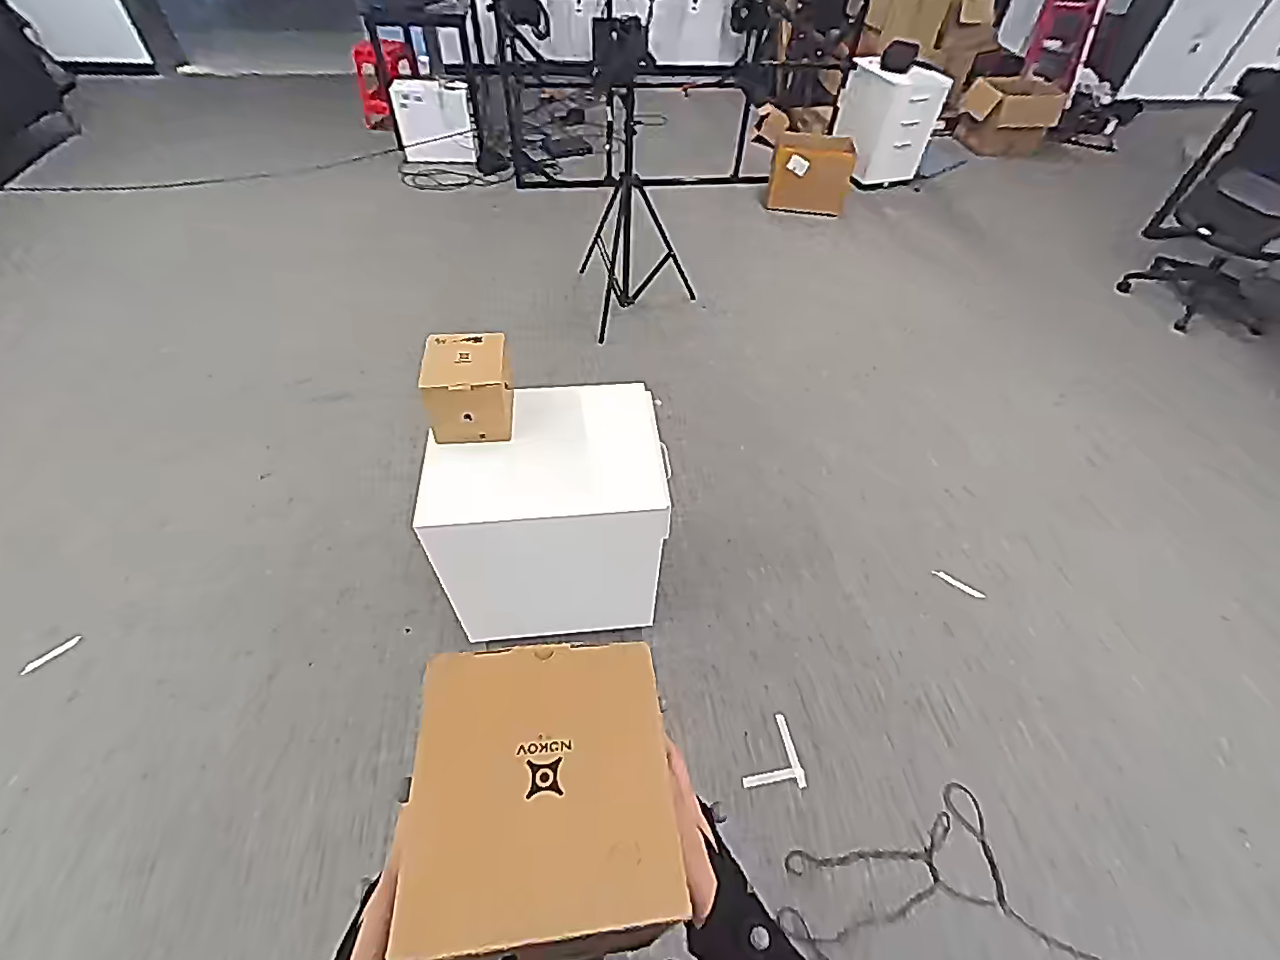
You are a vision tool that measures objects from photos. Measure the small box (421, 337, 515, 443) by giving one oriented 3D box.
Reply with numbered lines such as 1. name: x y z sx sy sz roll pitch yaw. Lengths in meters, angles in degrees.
1. small box: -0.371 -0.194 1.200 0.168 0.176 0.179 -3 52 -7

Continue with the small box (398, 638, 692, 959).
1. small box: -0.068 0.244 0.411 0.168 0.176 0.179 -1 44 -11
